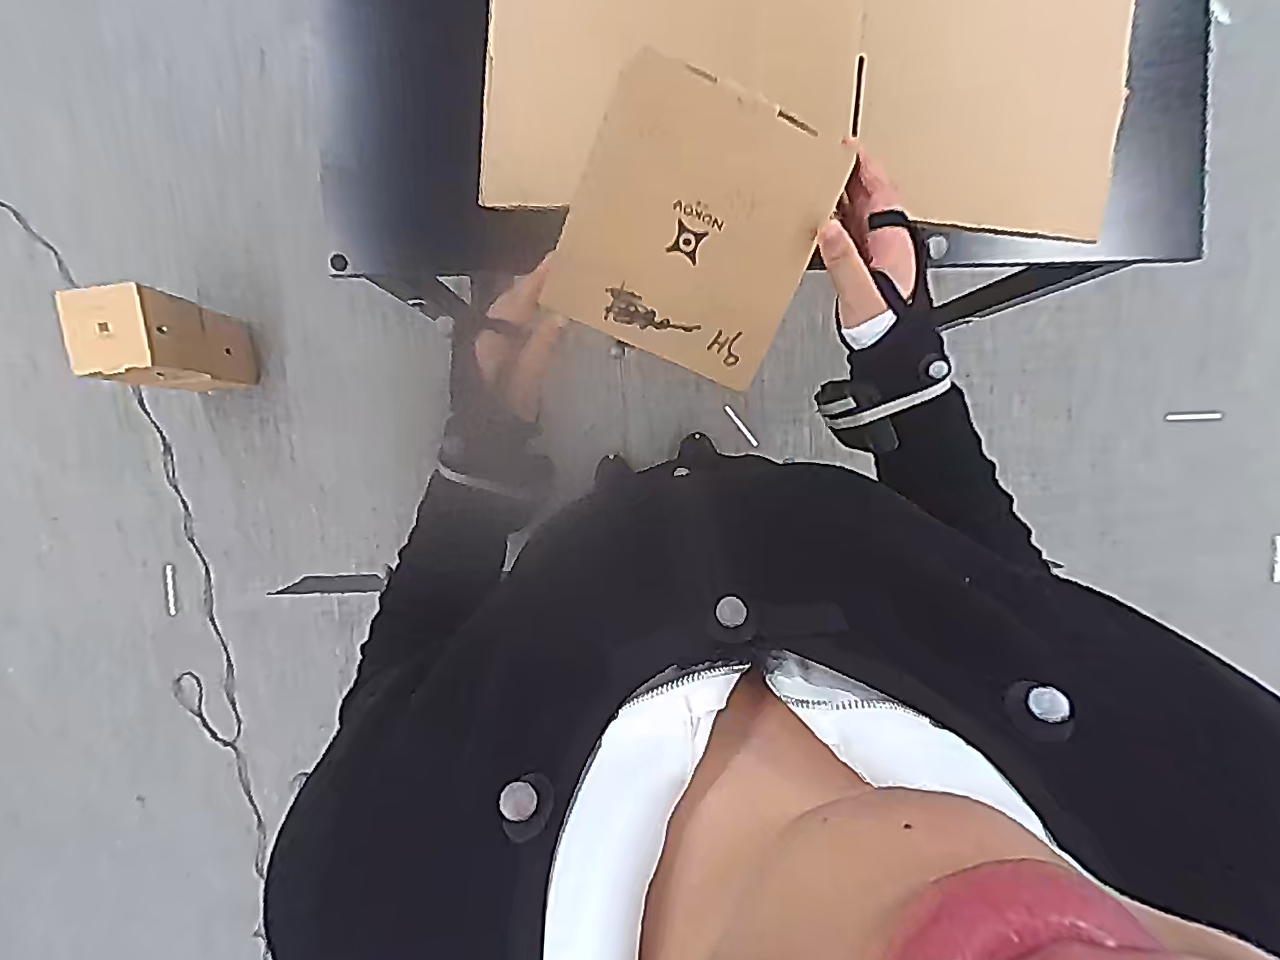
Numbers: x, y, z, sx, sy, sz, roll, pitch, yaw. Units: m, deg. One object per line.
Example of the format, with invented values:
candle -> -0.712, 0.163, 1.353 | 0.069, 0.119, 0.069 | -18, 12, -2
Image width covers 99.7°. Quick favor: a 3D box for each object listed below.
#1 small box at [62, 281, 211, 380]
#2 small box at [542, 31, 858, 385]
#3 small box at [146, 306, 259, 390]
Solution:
small box -> -1.103, -0.322, 1.200 | 0.168, 0.176, 0.179 | -8, 93, -2
small box -> 0.036, -0.195, 0.444 | 0.168, 0.176, 0.179 | 23, 103, -6
small box -> -1.104, -0.327, 1.363 | 0.168, 0.176, 0.179 | -5, 95, -1
